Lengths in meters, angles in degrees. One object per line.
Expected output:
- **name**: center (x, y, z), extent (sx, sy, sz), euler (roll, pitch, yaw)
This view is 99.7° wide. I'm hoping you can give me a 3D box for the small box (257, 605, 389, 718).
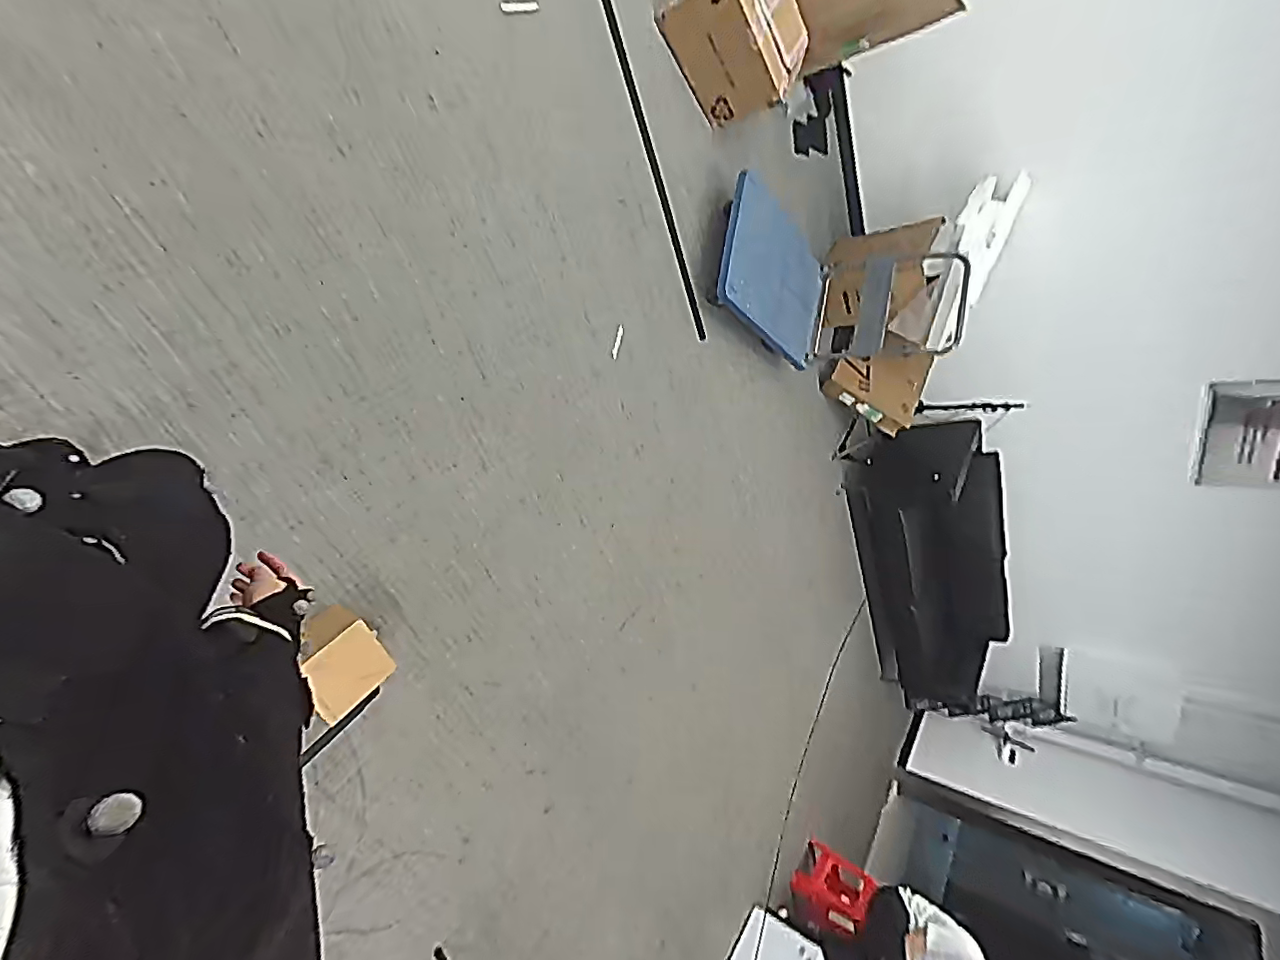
- **small box**: center (-0.726, 0.419, 1.246), extent (0.179, 0.176, 0.168), euler (-43, 125, -37)
